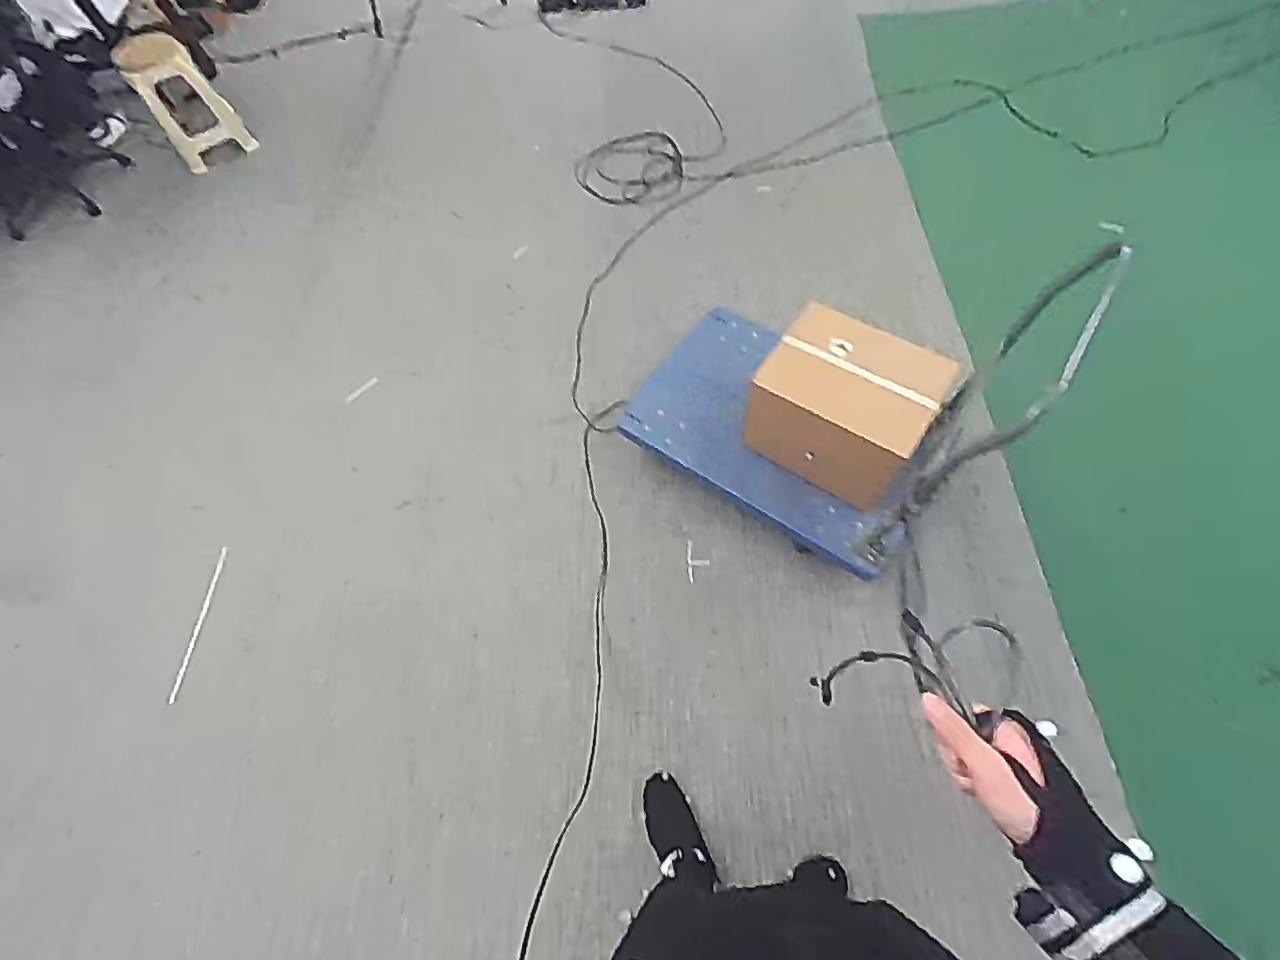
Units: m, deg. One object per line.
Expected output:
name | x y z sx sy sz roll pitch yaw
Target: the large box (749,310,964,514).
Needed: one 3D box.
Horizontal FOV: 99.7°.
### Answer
large box | 0.545 -0.175 1.434 0.408 0.320 0.320 31 69 21
